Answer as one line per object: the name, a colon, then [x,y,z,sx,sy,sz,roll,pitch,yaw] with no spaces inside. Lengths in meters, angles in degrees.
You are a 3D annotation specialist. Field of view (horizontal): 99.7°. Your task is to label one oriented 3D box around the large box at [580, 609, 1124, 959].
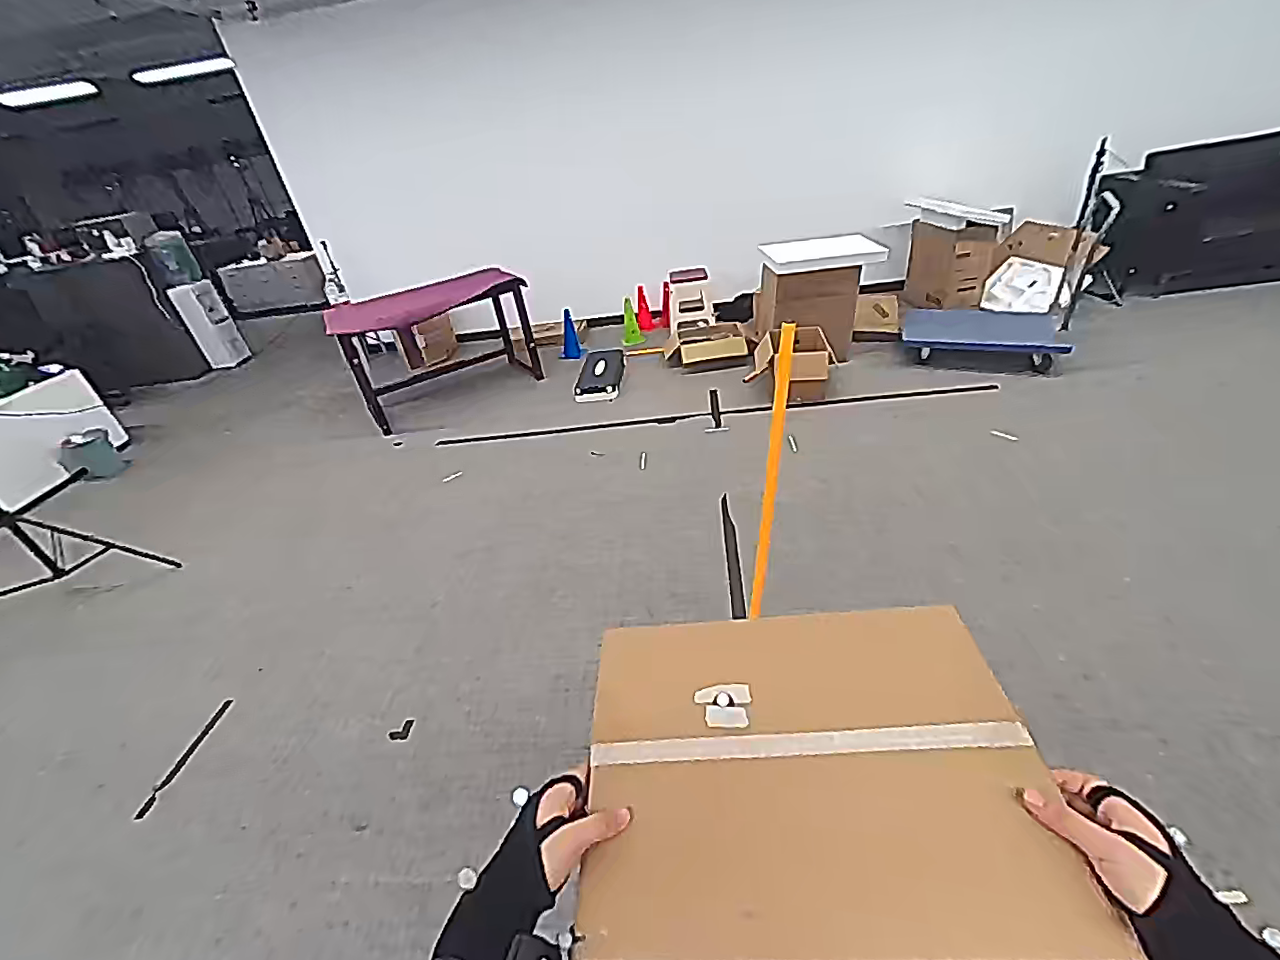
large box: [0.177,0.380,0.605,0.408,0.320,0.320,-7,35,7]
